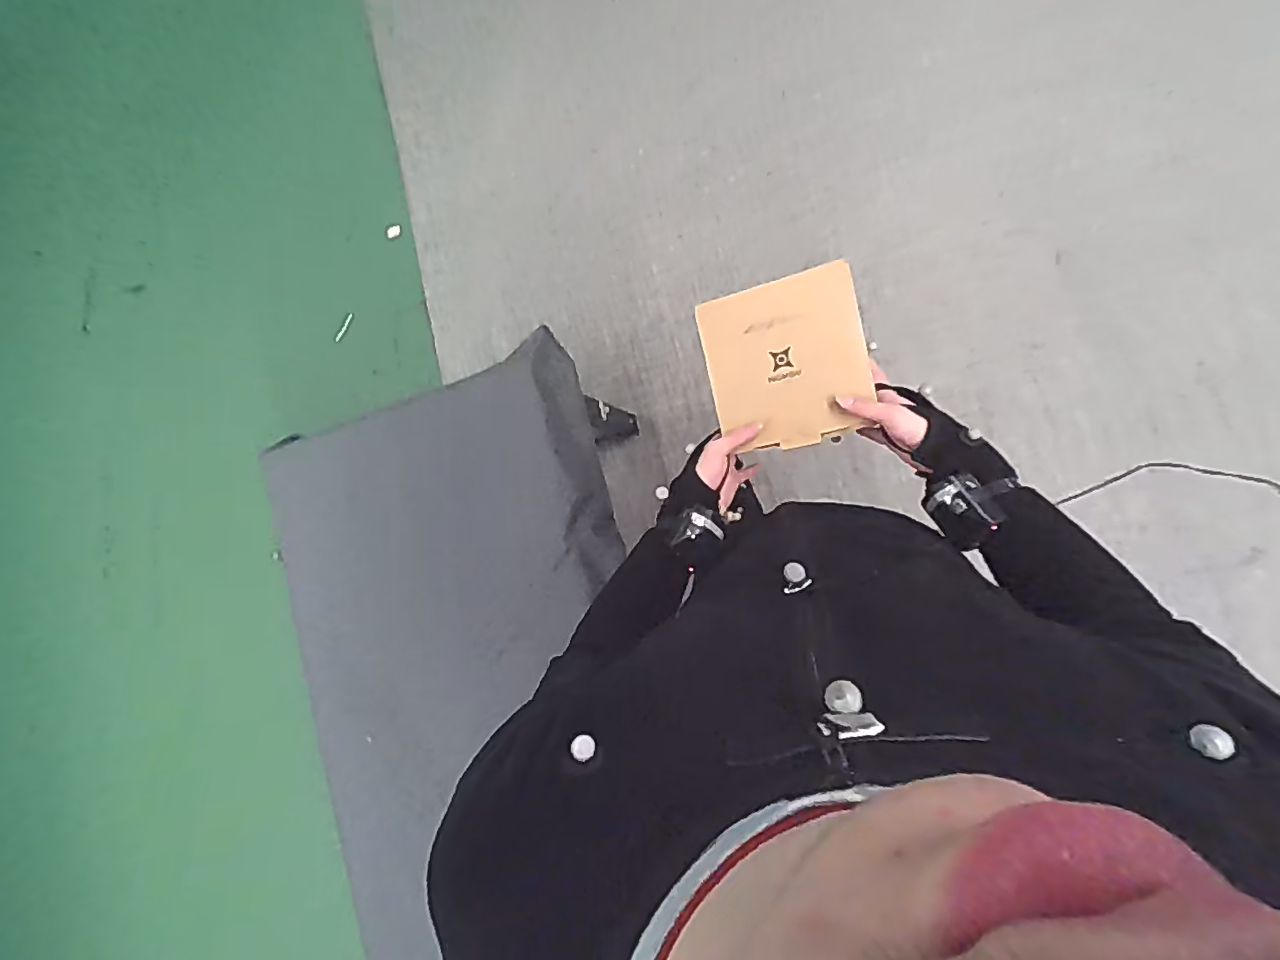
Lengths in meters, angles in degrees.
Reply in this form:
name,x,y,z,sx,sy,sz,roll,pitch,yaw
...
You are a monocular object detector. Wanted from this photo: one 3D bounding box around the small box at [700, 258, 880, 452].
name,x,y,z,sx,sy,sz,roll,pitch,yaw
small box,0.187,-0.142,0.663,0.168,0.176,0.179,-12,93,20
